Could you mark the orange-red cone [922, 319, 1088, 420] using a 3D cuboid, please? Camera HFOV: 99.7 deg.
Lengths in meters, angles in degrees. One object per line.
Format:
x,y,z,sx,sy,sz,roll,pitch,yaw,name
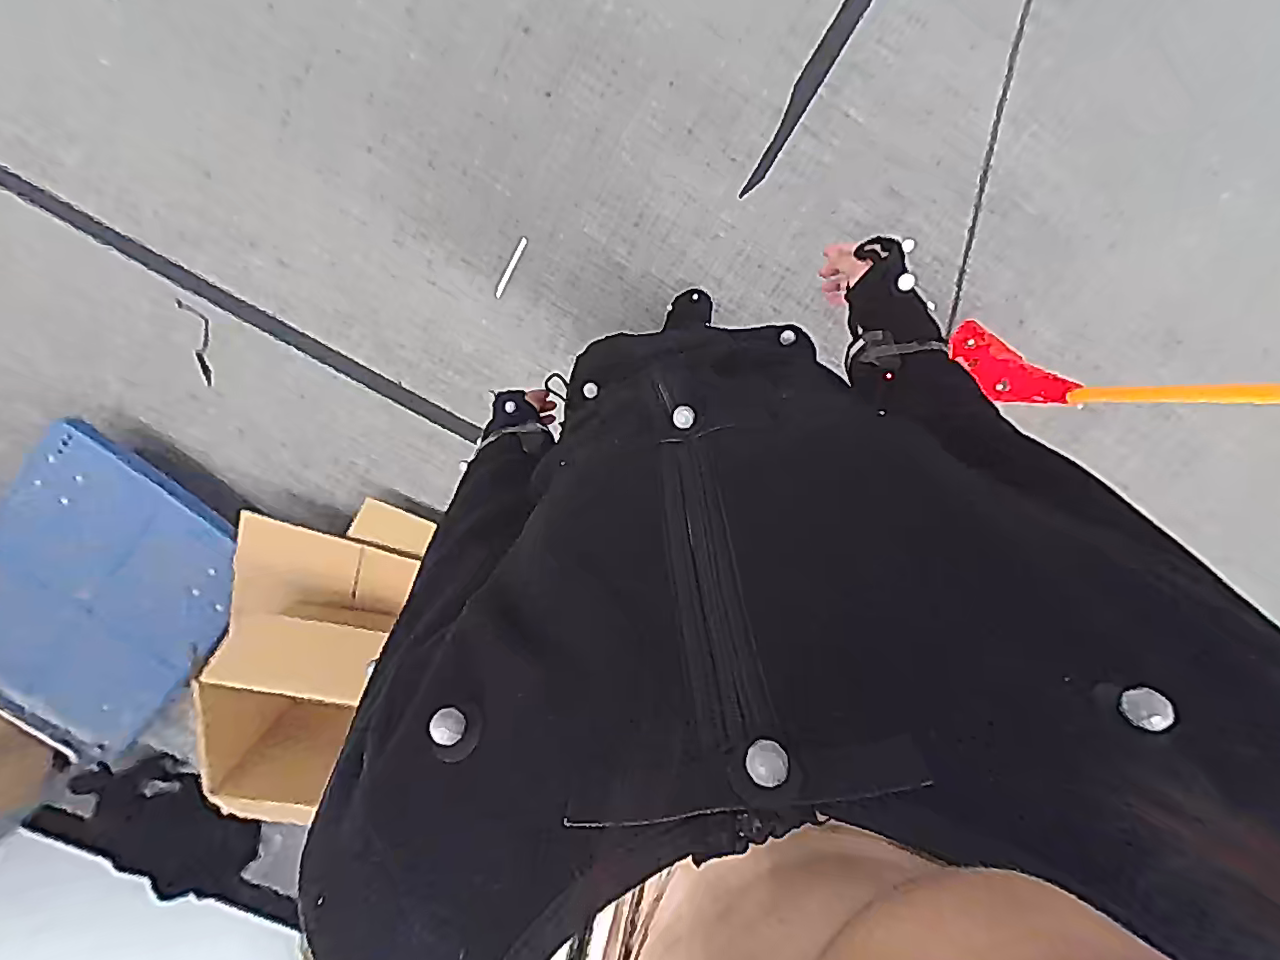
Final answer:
0.825,-0.218,1.180,0.198,0.360,0.199,33,106,-9,orange-red cone
